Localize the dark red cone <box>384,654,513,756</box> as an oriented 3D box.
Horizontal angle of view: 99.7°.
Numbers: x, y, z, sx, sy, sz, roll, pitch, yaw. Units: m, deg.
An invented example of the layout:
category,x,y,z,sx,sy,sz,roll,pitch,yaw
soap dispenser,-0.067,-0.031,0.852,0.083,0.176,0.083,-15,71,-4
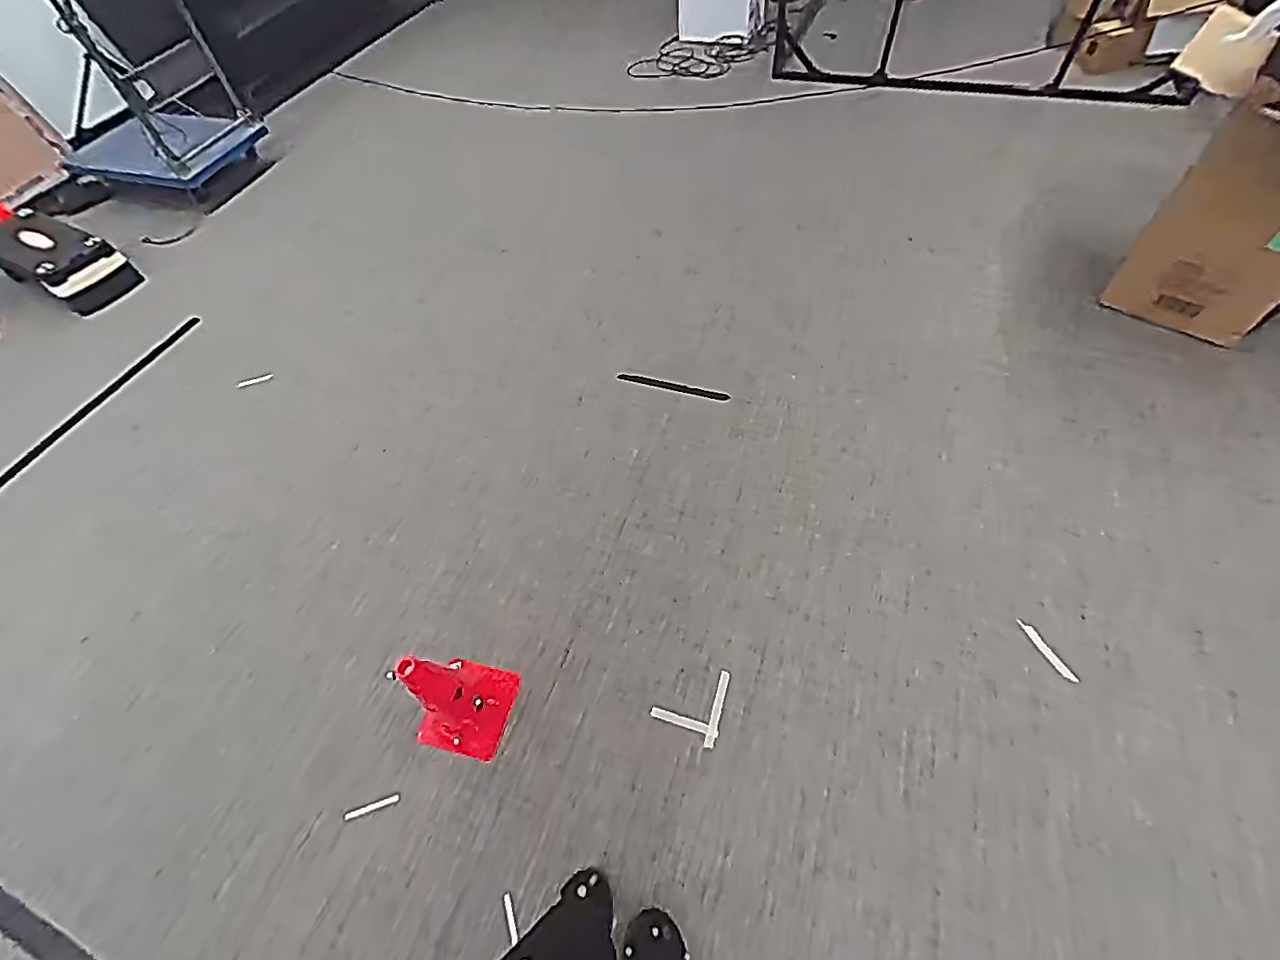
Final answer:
category,x,y,z,sx,sy,sz,roll,pitch,yaw
dark red cone,-0.423,0.429,1.120,0.202,0.394,0.201,9,58,11
